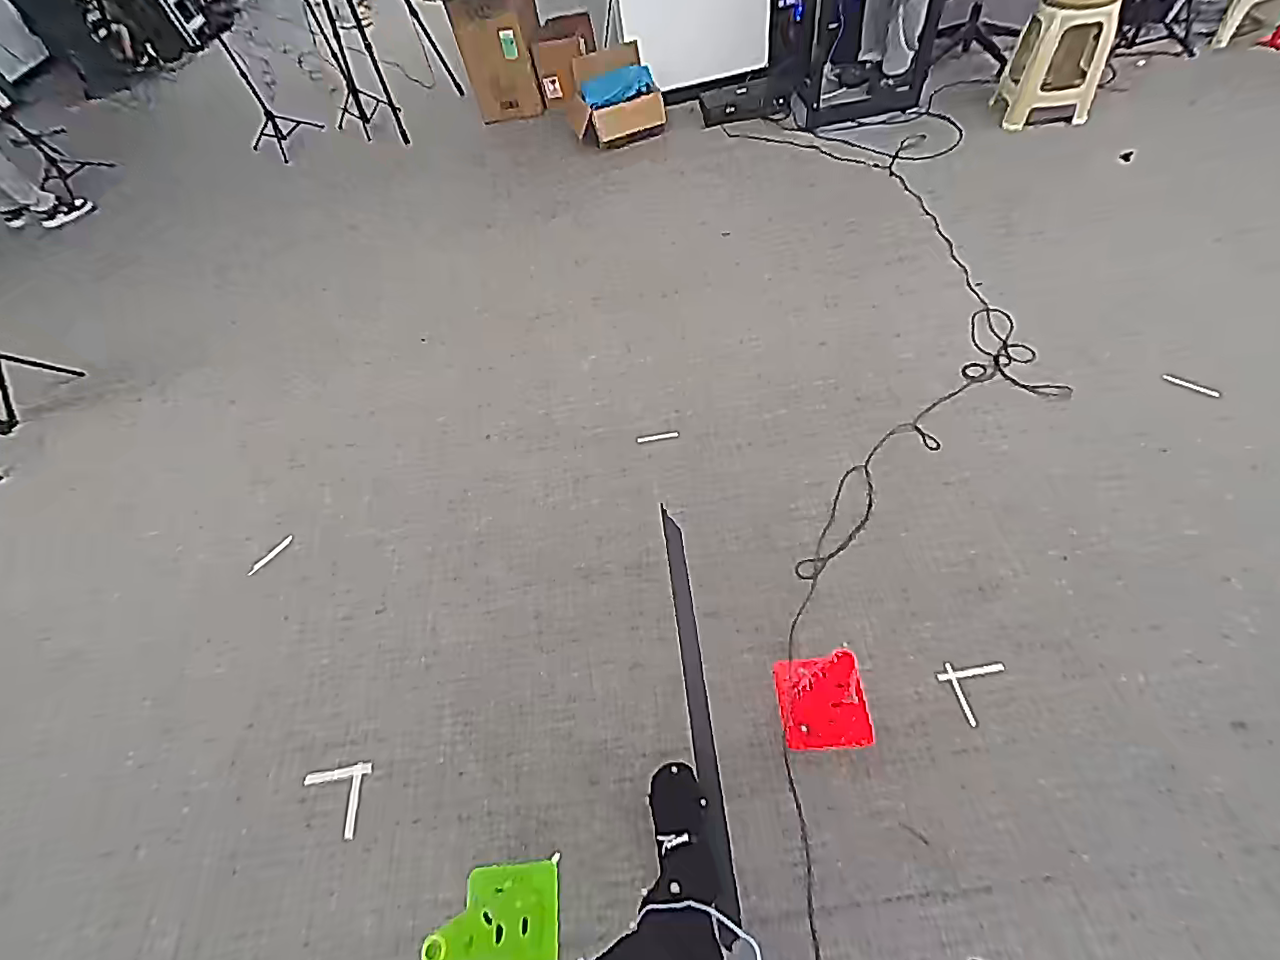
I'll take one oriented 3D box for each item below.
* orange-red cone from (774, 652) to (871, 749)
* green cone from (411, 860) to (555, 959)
[{"bbox_3d":[0.399,0.426,1.125,0.199,0.360,0.198,-5,56,6],"label":"orange-red cone"},{"bbox_3d":[-0.300,0.815,0.977,0.202,0.368,0.200,-10,54,5],"label":"green cone"}]
